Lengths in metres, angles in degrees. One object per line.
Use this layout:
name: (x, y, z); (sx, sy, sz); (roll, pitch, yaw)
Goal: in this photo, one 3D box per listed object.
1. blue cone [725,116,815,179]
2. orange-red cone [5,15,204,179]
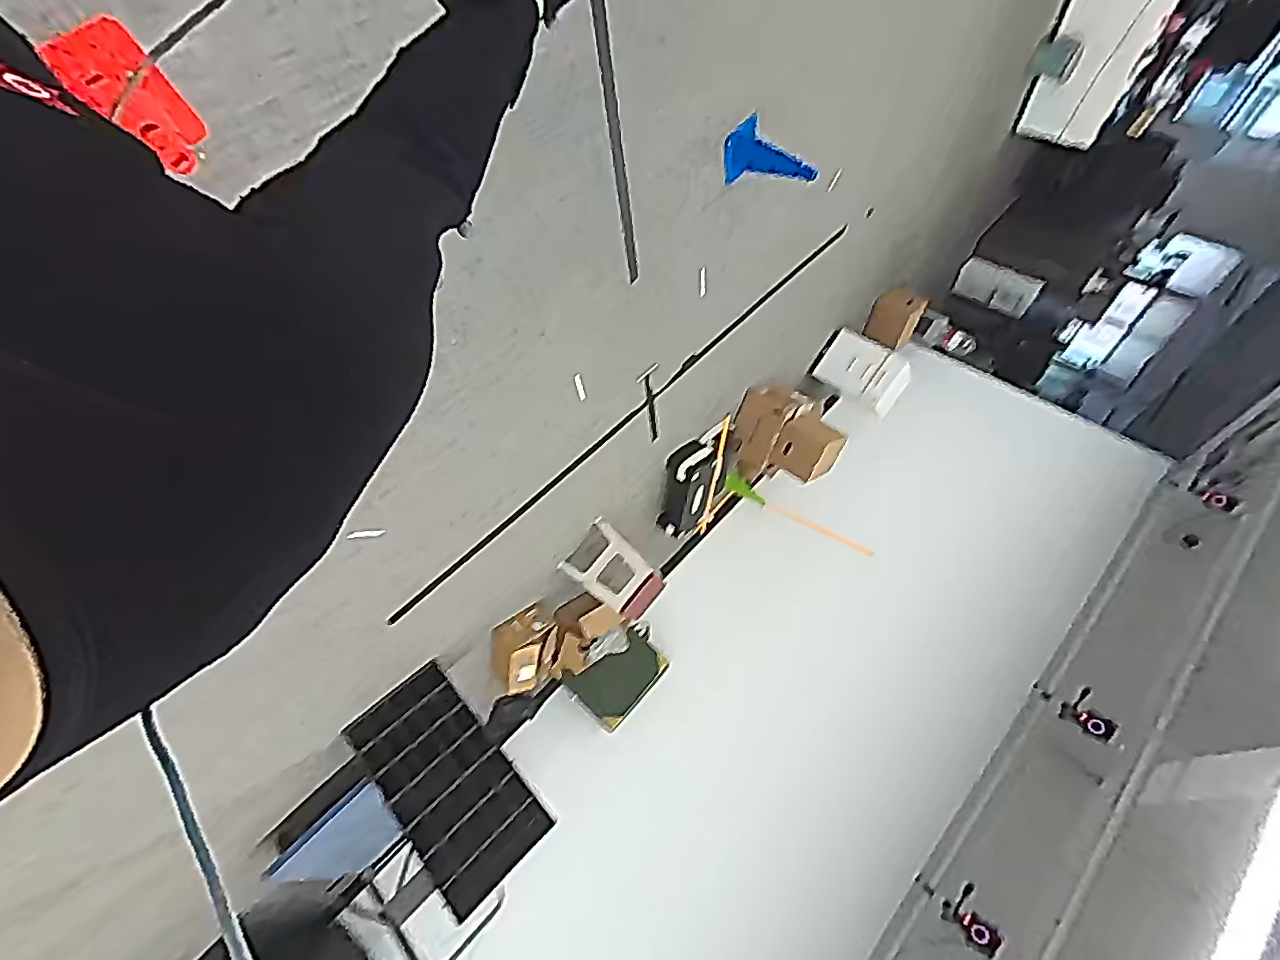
blue cone: (0.528, -1.266, 2.131); (0.192, 0.380, 0.193); (-45, 153, -14)
orange-red cone: (-0.798, -0.567, 0.871); (0.198, 0.360, 0.199); (-44, 154, -15)
